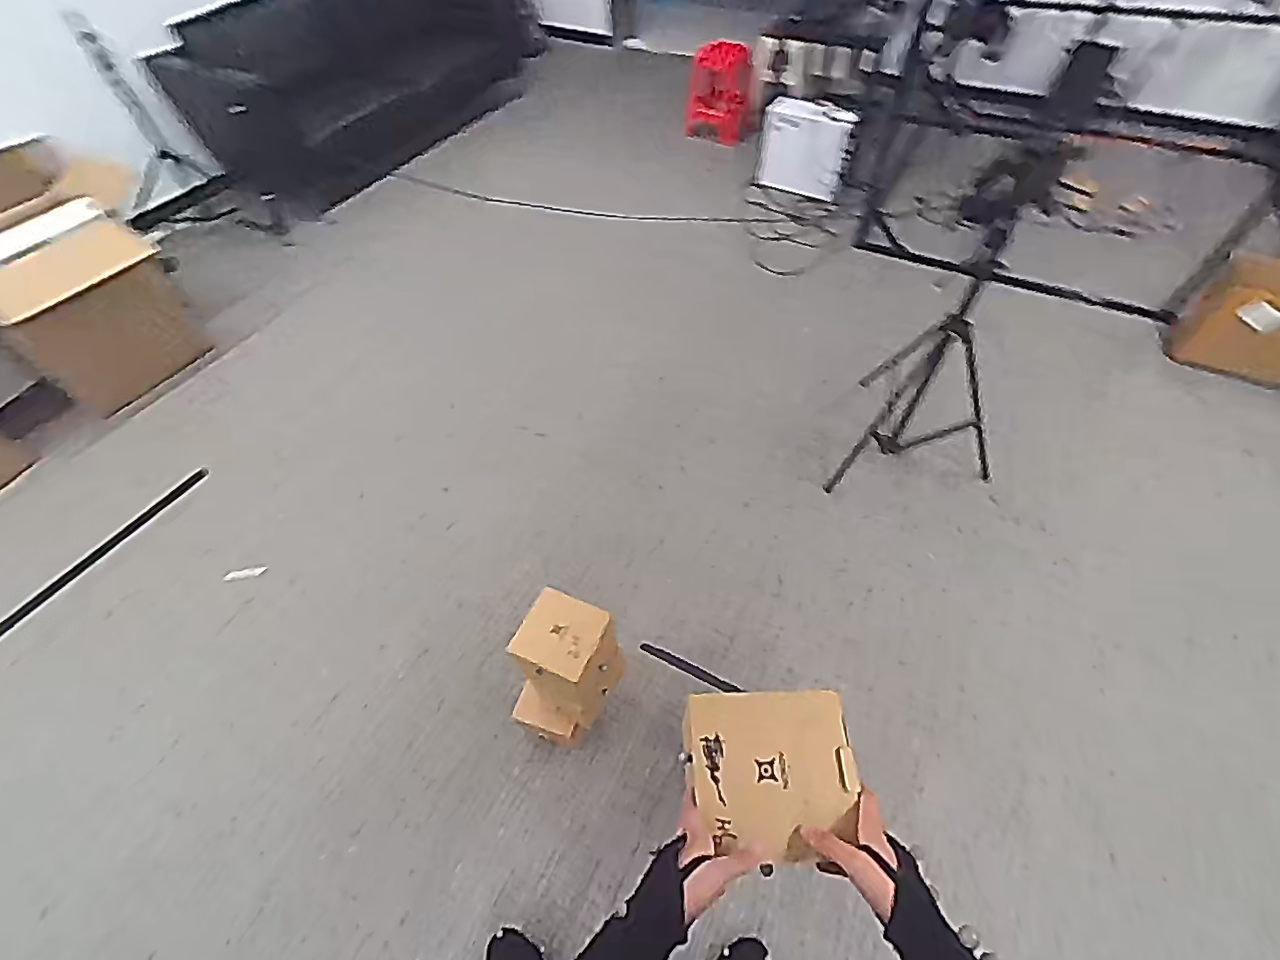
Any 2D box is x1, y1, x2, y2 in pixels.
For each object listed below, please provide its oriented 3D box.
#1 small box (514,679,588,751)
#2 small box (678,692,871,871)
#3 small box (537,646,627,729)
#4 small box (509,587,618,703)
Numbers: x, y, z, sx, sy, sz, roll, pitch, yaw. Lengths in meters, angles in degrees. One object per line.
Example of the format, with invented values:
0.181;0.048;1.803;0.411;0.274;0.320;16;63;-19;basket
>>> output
-0.215;0.604;1.462;0.168;0.176;0.179;13;55;13;small box
0.141;0.354;0.640;0.179;0.176;0.168;-2;57;0;small box
-0.146;0.484;1.347;0.168;0.176;0.179;26;58;21;small box
-0.164;0.377;1.222;0.179;0.176;0.168;20;55;17;small box
